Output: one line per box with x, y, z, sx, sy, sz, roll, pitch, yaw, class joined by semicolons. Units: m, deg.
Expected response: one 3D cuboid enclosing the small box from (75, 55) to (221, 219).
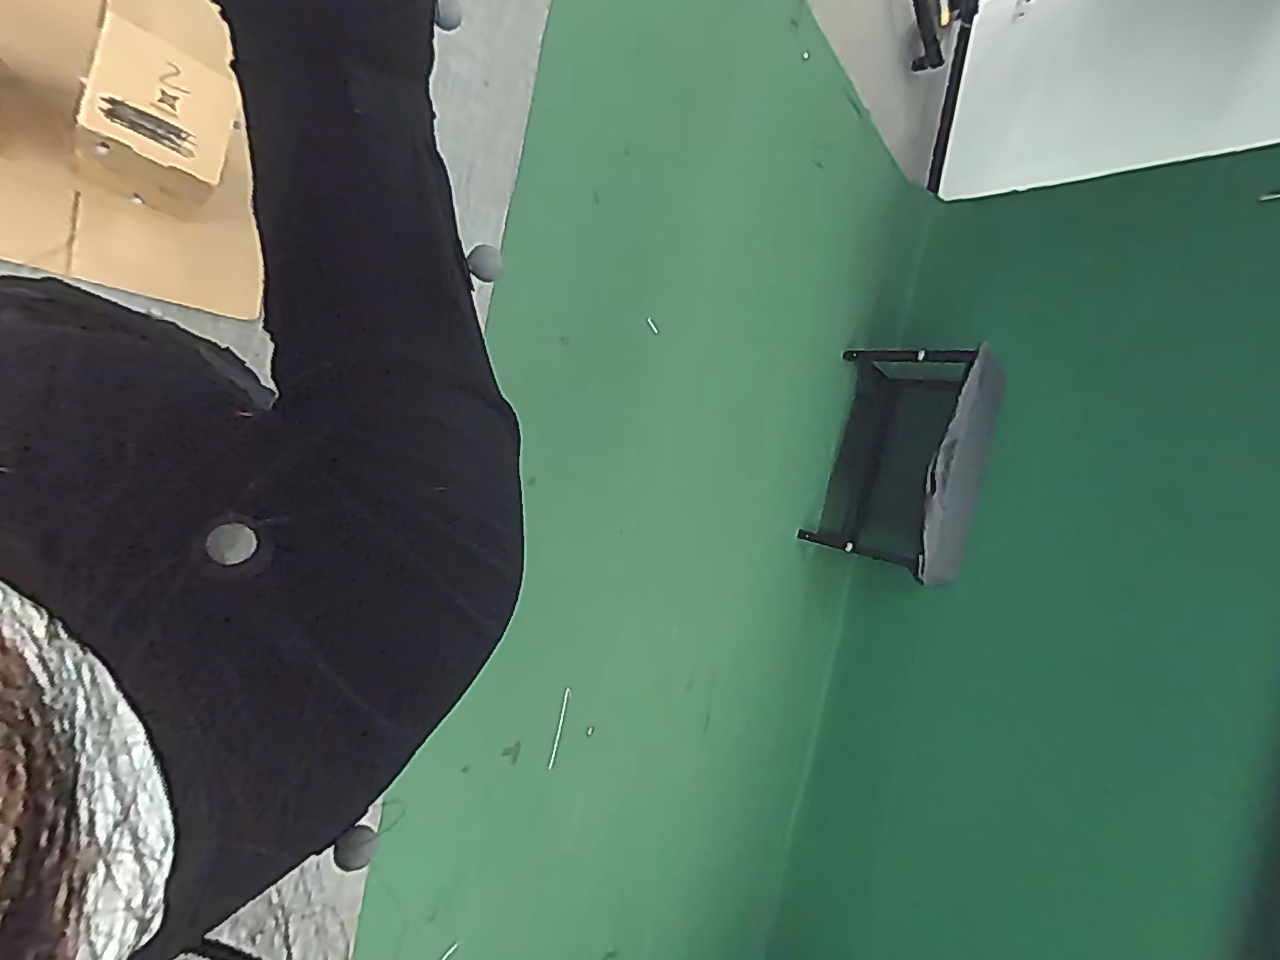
-0.910;-0.617;1.000;0.168;0.176;0.179;14;89;-46;small box
